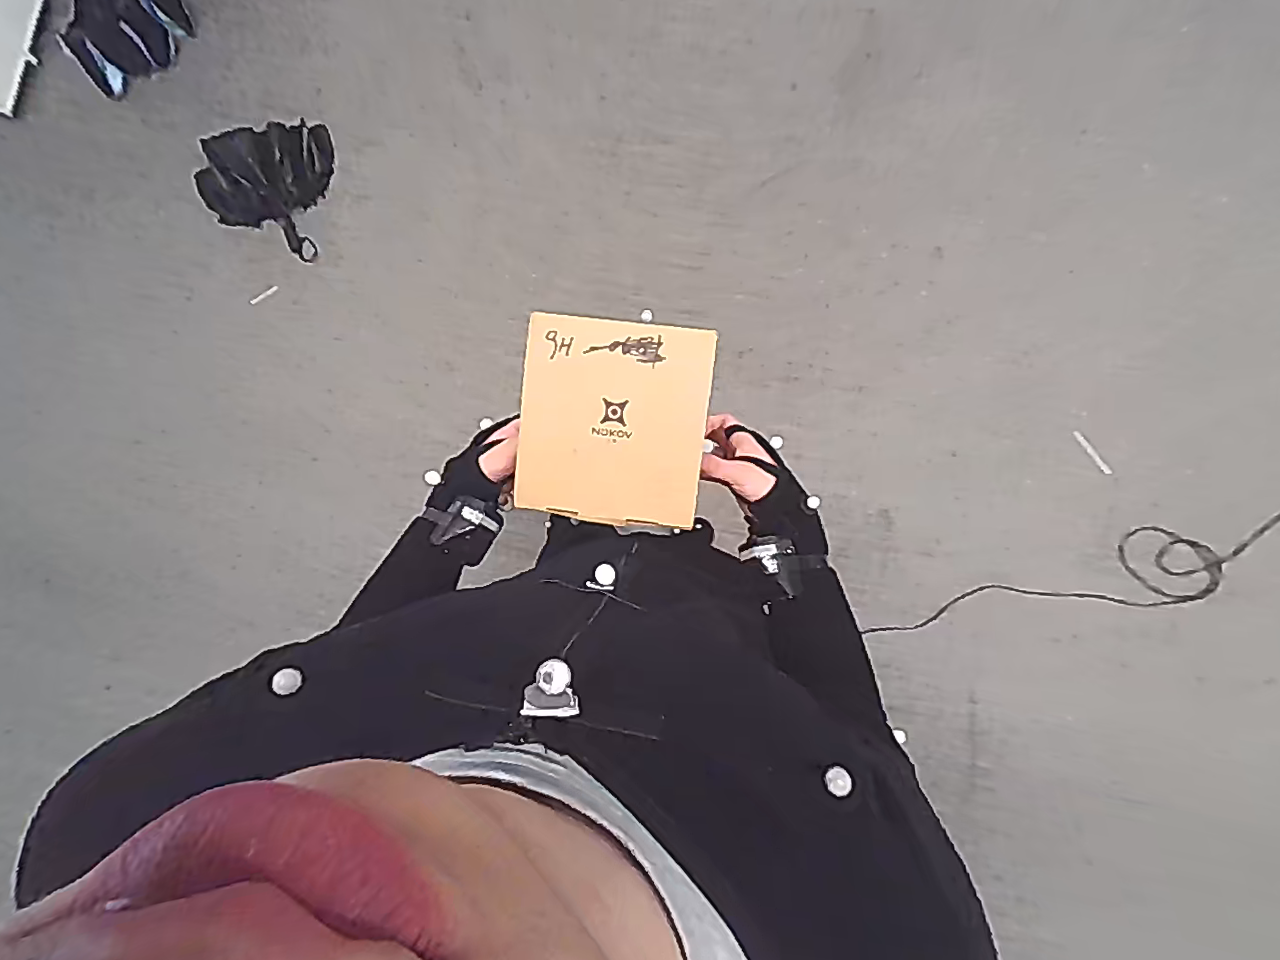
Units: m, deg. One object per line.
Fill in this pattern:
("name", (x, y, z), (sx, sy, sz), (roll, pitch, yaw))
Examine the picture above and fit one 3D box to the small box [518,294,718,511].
("small box", (-0.017, -0.078, 0.556), (0.168, 0.176, 0.179), (7, 98, 2))
